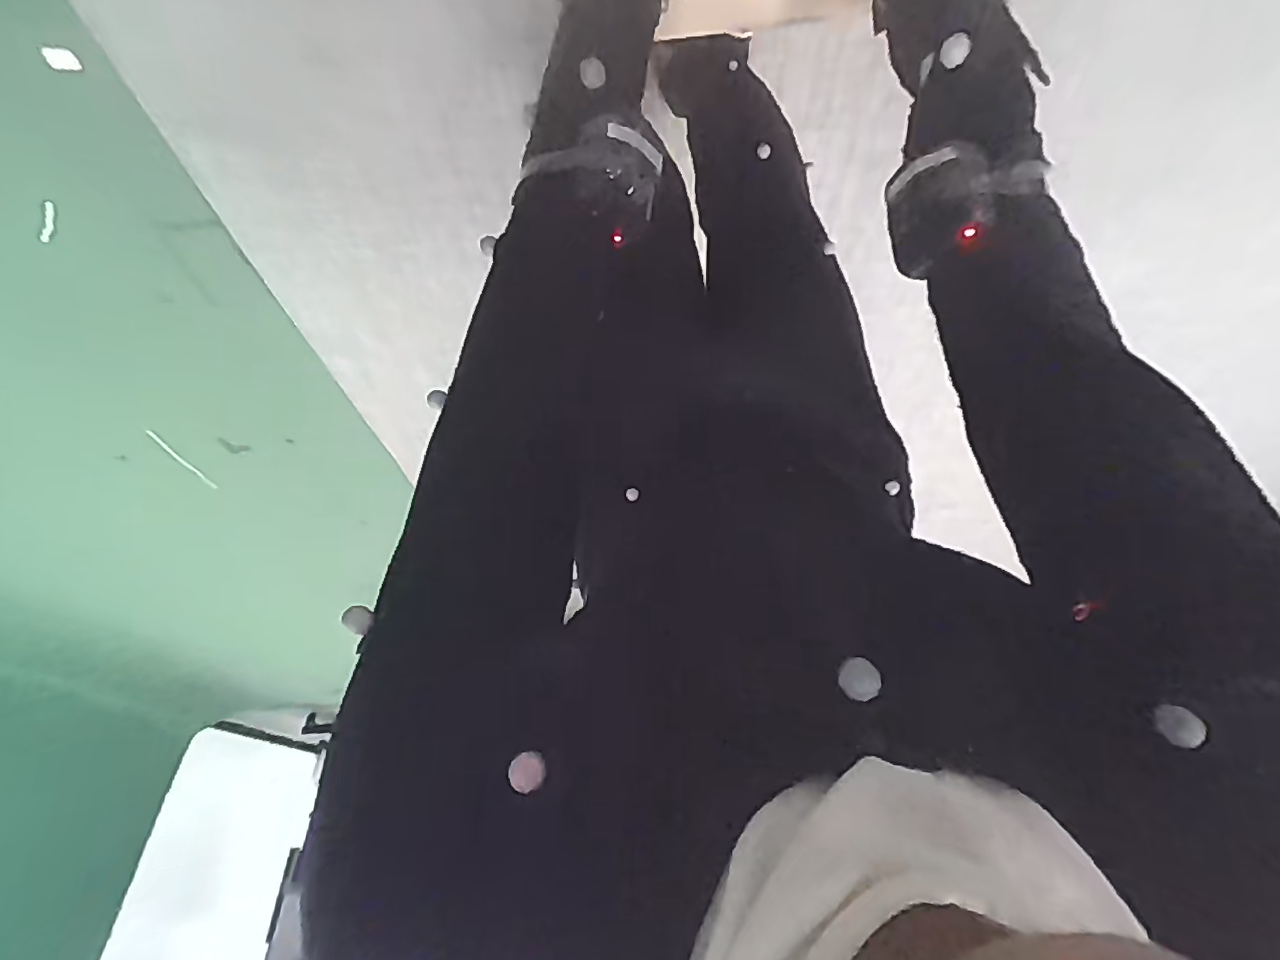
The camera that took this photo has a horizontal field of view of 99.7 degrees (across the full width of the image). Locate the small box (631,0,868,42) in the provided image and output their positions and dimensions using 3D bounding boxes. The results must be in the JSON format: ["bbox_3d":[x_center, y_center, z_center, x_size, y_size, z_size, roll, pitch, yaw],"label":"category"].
[{"bbox_3d":[0.073,-0.453,0.386,0.179,0.176,0.168,-5,147,2],"label":"small box"}]
